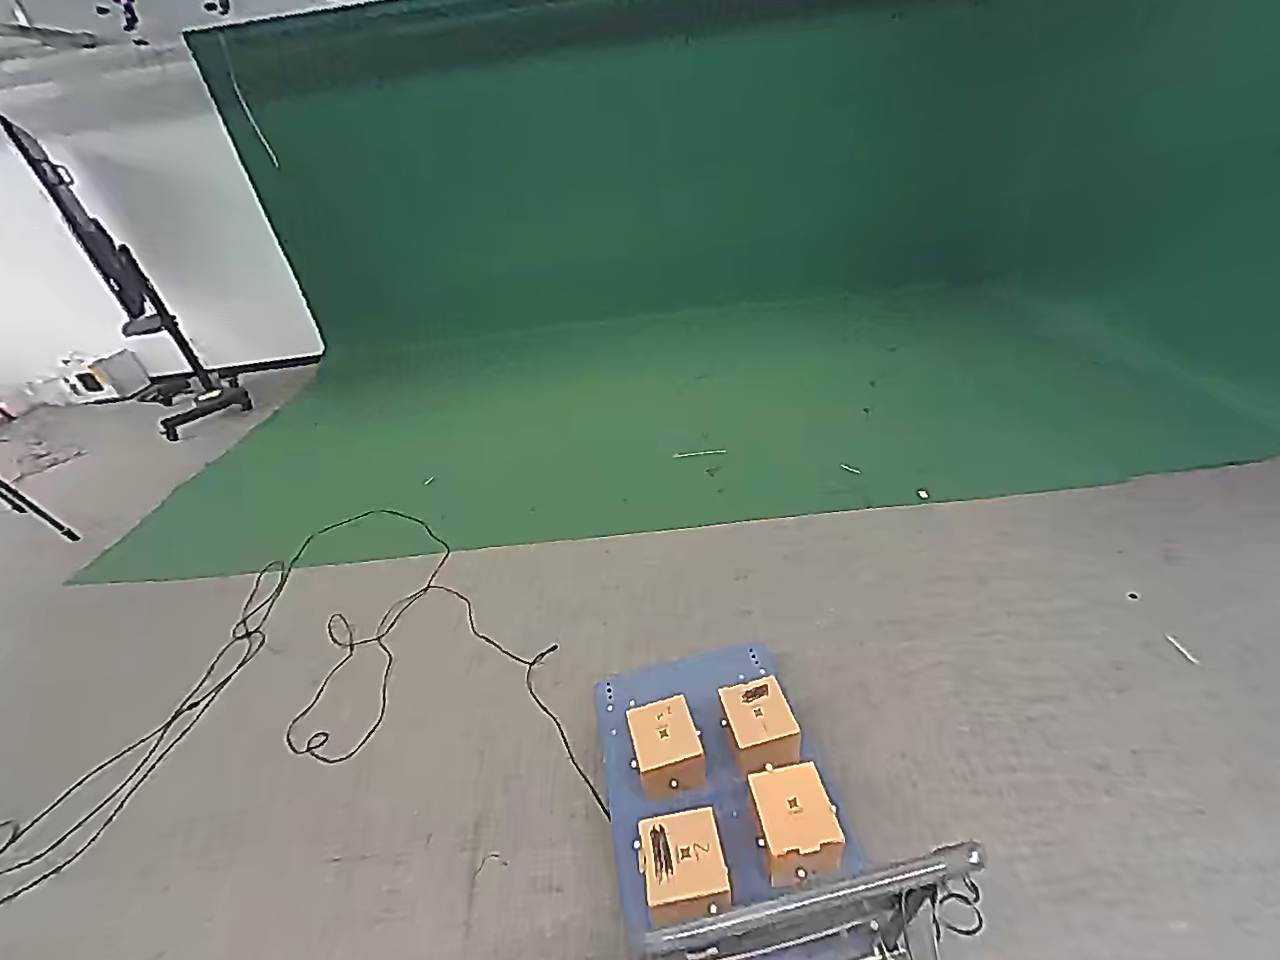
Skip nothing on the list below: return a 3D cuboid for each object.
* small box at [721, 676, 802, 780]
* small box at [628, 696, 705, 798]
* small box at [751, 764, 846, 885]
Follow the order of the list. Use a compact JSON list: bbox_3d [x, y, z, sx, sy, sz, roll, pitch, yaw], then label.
[{"bbox_3d":[0.324,0.672,1.467,0.168,0.176,0.179,-13,36,-5],"label":"small box"},{"bbox_3d":[0.073,0.722,1.450,0.168,0.176,0.179,-13,35,-8],"label":"small box"},{"bbox_3d":[0.361,0.807,1.270,0.168,0.176,0.179,-10,35,-3],"label":"small box"}]
